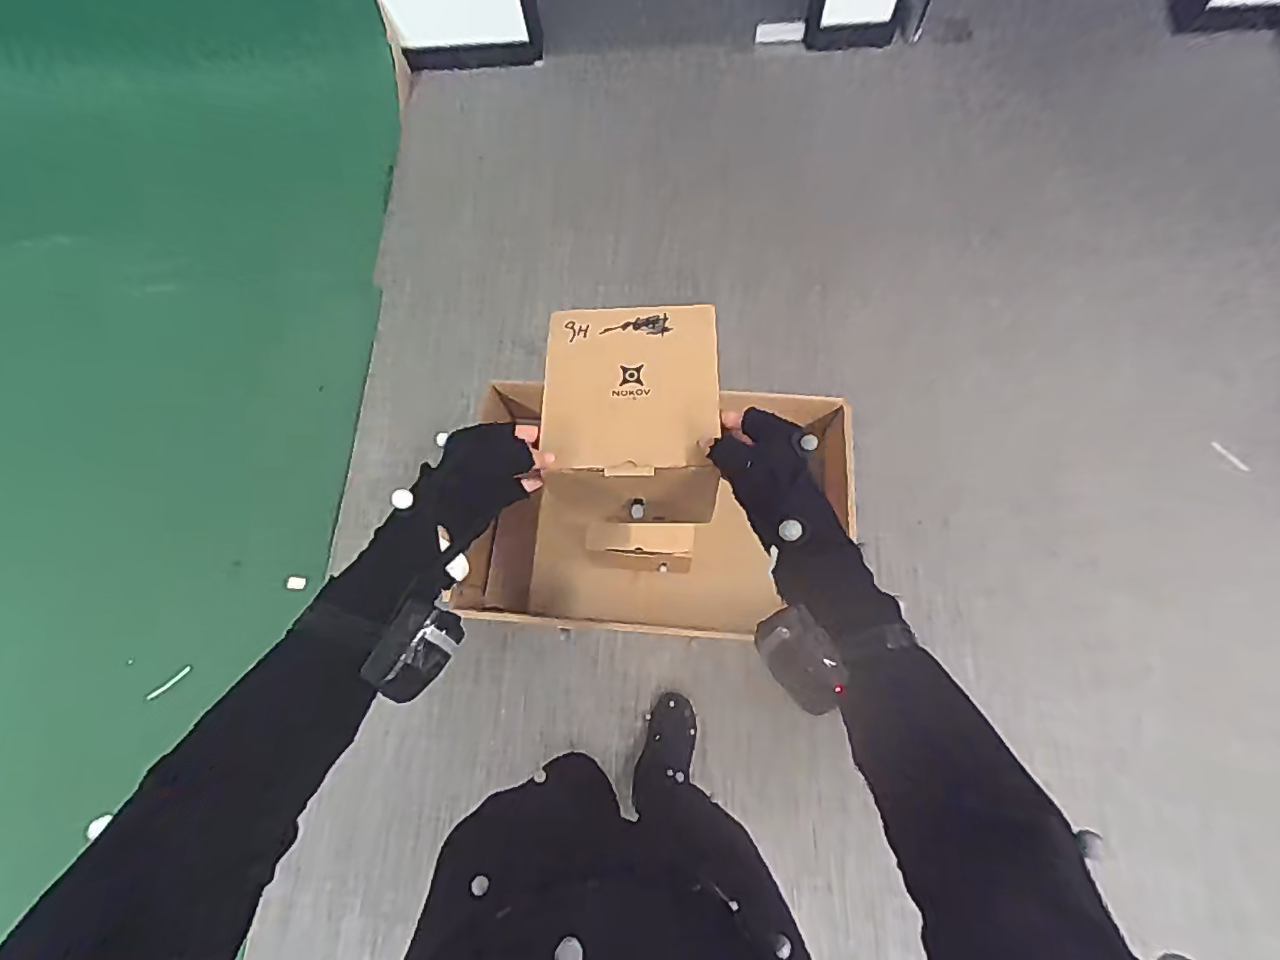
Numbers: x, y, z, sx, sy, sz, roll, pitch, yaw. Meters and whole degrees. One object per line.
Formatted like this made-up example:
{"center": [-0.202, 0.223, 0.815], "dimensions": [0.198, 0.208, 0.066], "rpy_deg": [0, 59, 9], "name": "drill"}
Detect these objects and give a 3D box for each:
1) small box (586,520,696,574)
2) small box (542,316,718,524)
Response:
{"center": [0.010, 0.058, 0.904], "dimensions": [0.168, 0.176, 0.179], "rpy_deg": [3, 70, 3], "name": "small box"}
{"center": [-0.001, -0.053, 0.591], "dimensions": [0.168, 0.176, 0.179], "rpy_deg": [-1, 69, 5], "name": "small box"}
